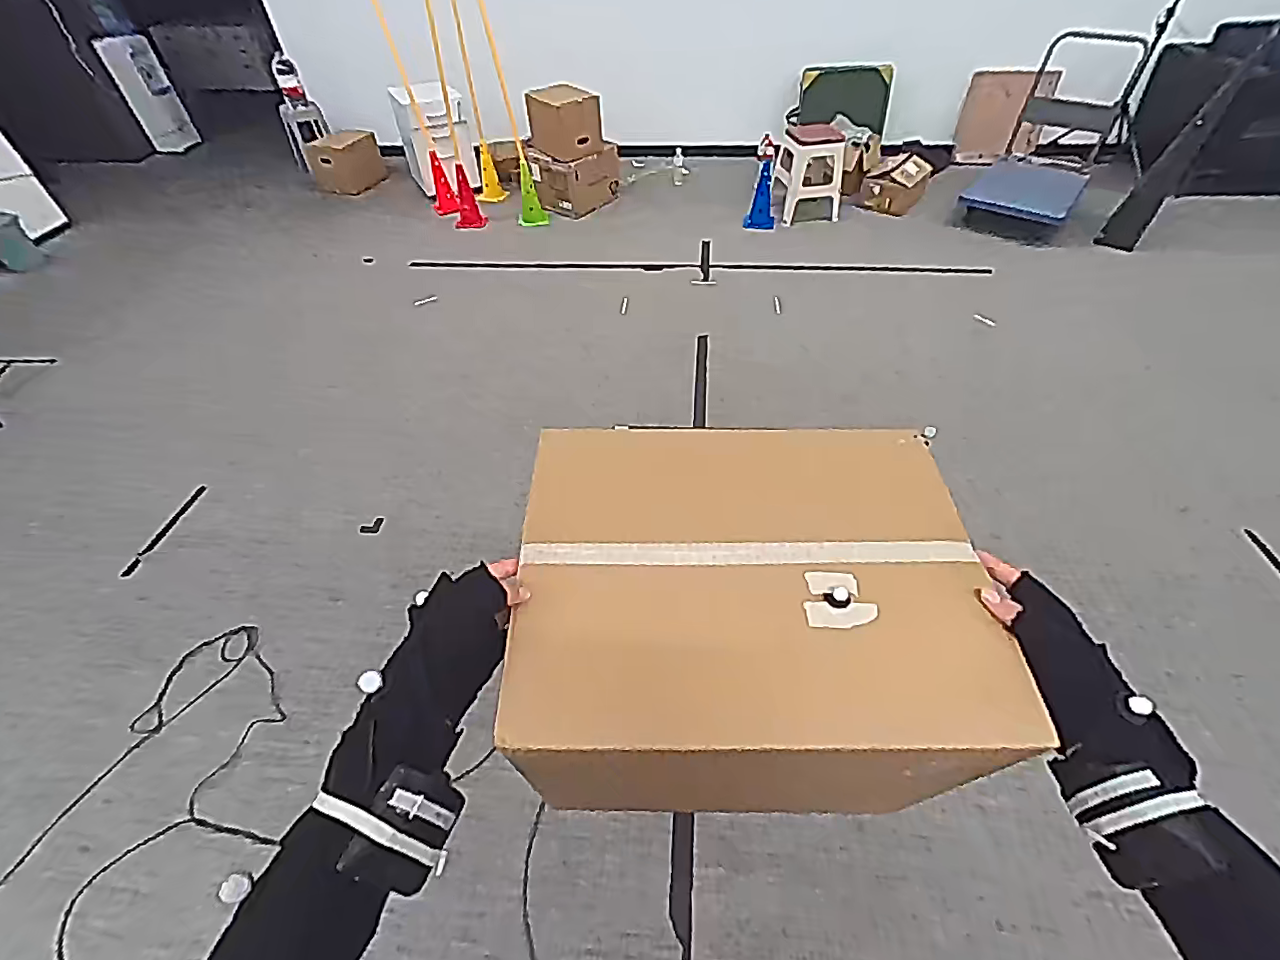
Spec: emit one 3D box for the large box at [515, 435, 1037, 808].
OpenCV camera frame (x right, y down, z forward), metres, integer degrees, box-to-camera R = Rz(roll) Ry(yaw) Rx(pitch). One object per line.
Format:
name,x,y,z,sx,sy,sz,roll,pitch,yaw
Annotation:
large box,0.098,0.165,0.610,0.408,0.320,0.320,0,52,-1

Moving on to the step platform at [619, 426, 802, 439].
step platform,0.245,-0.033,1.912,0.684,0.204,0.286,1,48,2
